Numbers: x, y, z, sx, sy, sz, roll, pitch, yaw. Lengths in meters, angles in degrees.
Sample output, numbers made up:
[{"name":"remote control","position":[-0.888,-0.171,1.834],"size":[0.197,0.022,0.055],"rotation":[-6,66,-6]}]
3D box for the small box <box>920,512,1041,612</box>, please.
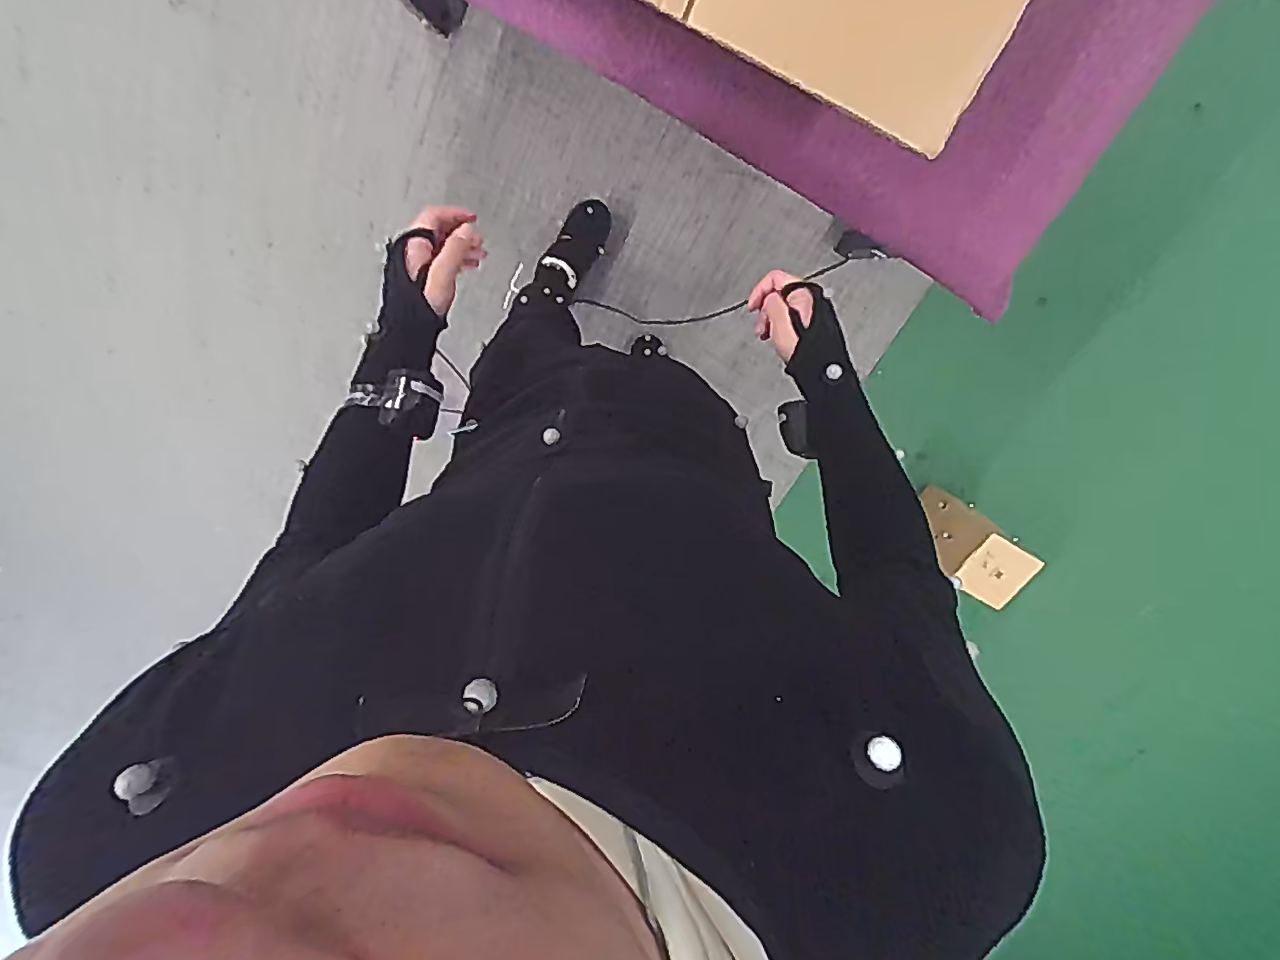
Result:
[{"name":"small box","position":[0.900,0.212,1.447],"size":[0.179,0.176,0.168],"rotation":[29,109,-9]}]
